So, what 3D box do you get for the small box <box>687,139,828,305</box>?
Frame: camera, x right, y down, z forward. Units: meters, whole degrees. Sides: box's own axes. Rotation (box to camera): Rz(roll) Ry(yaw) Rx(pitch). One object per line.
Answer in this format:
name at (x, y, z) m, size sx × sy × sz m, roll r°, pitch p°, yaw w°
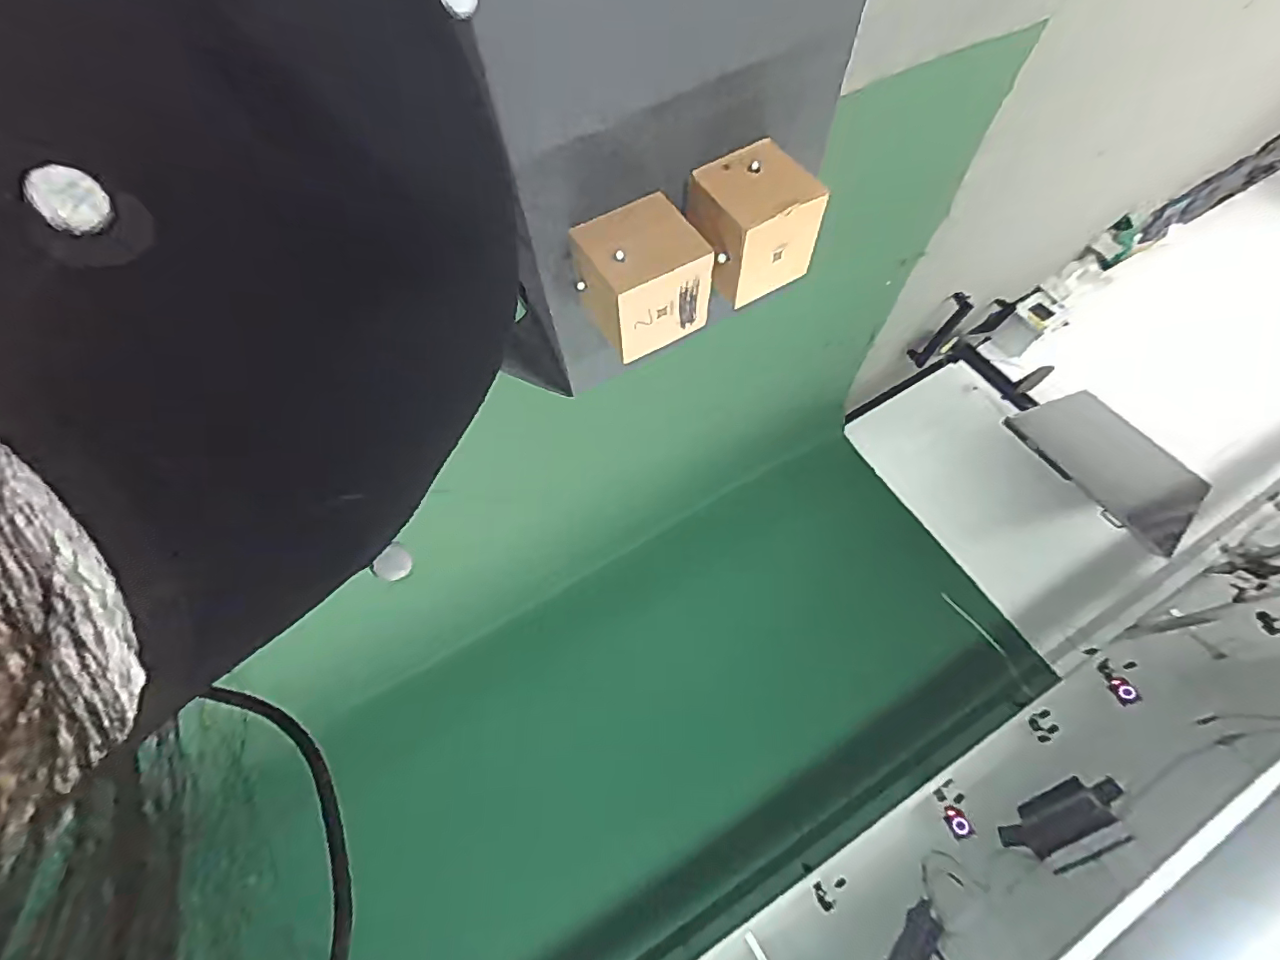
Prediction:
small box at (0.196, -0.454, 0.959) m, size 0.168 × 0.176 × 0.179 m, roll -29°, pitch 156°, yaw -10°
